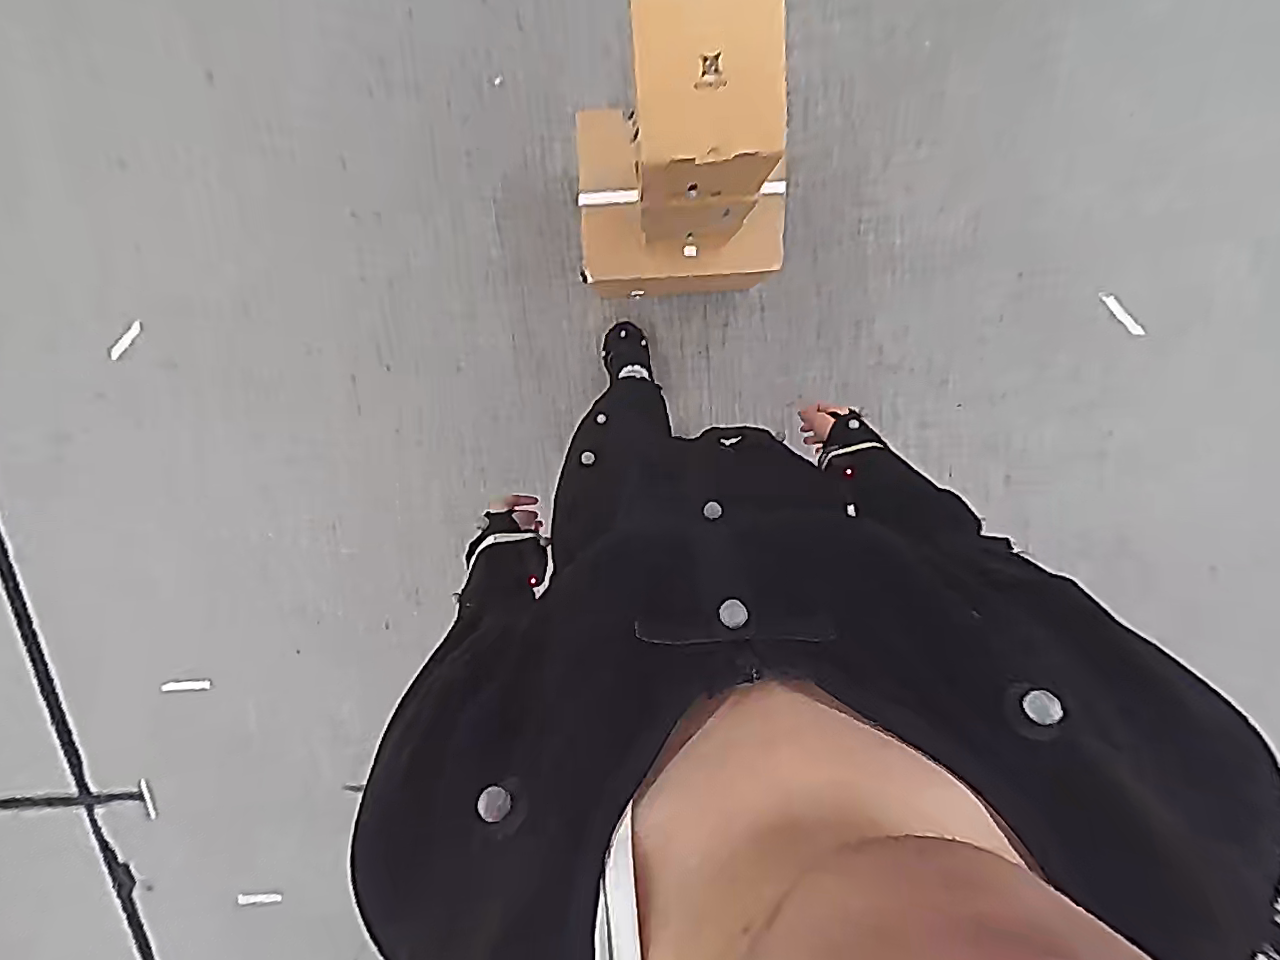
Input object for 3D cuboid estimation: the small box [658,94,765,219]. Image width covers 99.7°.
[{"bbox_3d":[0.121,-0.572,0.964,0.179,0.176,0.168,-2,105,0],"label":"small box"}]
